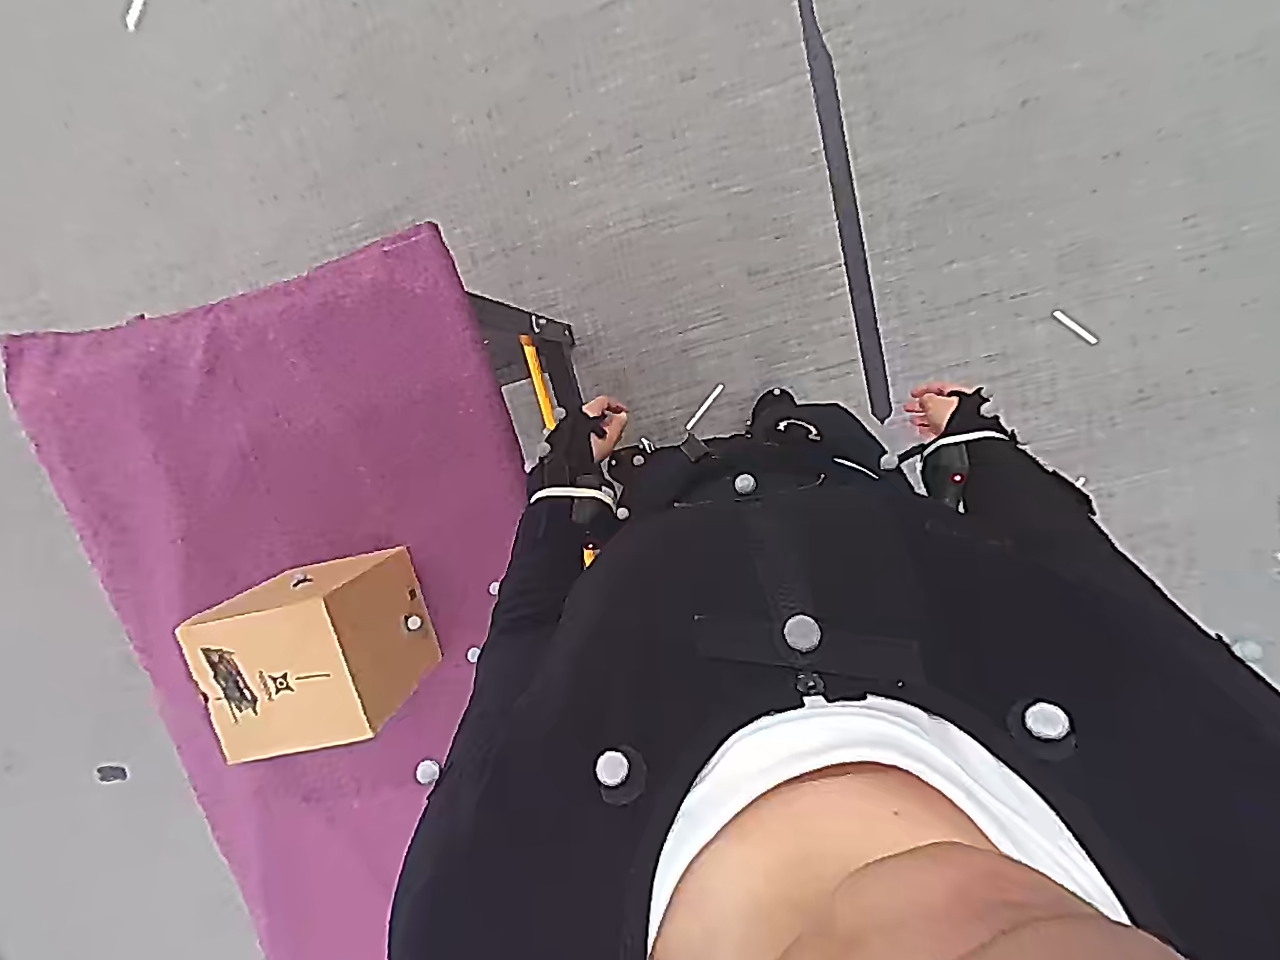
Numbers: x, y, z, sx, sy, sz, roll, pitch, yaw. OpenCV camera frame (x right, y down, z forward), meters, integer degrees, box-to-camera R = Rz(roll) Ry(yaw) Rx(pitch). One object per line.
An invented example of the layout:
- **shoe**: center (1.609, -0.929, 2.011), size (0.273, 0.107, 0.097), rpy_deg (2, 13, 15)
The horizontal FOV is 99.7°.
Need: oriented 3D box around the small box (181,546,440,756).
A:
- **small box**: center (-0.374, 0.193, 0.646), size (0.179, 0.176, 0.168), rpy_deg (-12, 100, 7)
